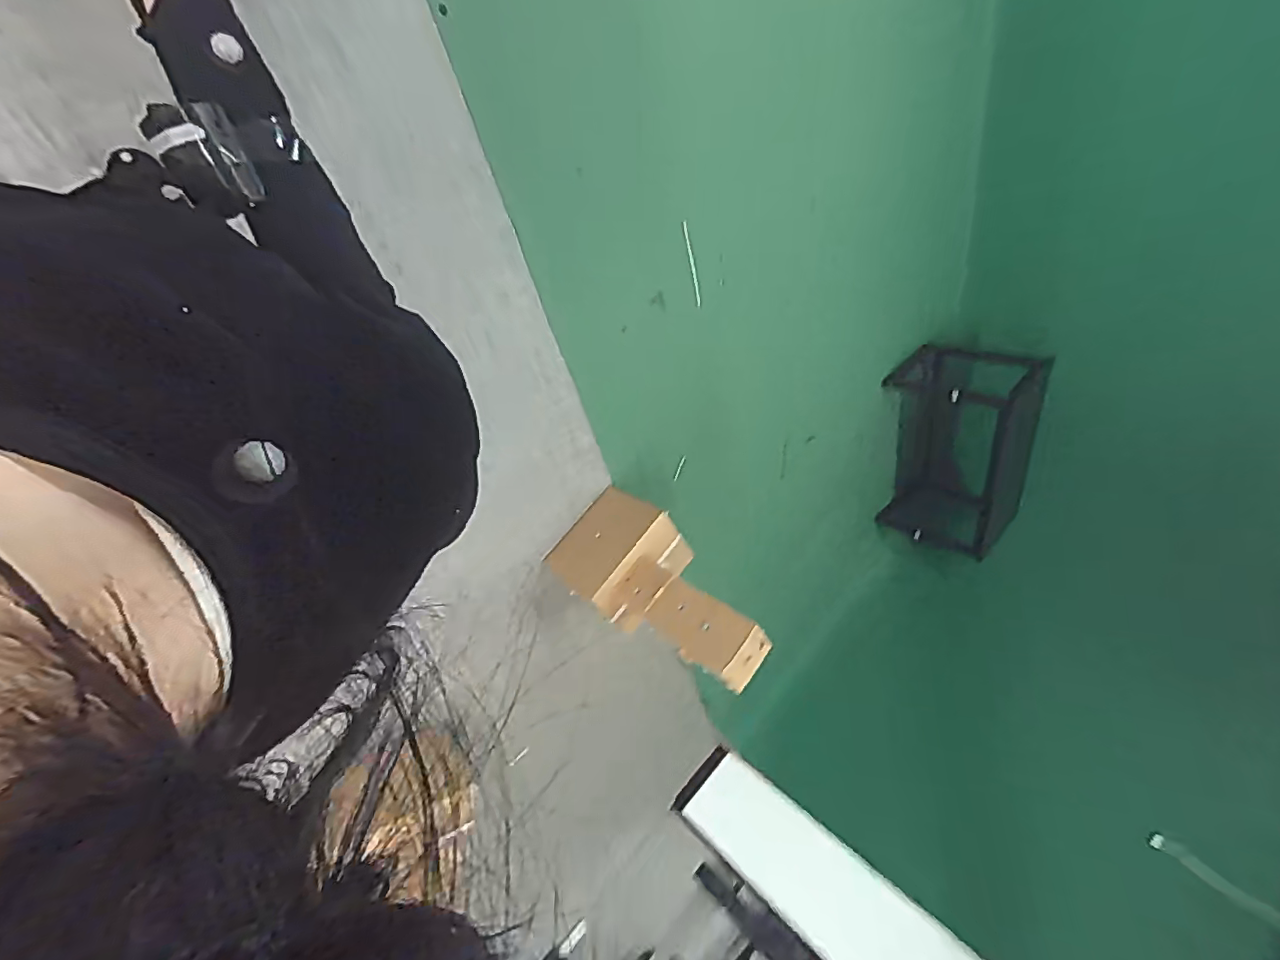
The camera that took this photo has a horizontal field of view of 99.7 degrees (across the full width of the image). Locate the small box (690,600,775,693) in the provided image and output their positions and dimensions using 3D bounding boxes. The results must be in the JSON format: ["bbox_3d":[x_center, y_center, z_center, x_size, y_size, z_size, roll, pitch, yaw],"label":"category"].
[{"bbox_3d":[0.273,0.500,1.634,0.179,0.176,0.168,-49,134,-15],"label":"small box"}]

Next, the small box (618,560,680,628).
[{"bbox_3d":[0.055,0.397,1.857,0.168,0.176,0.179,-49,134,-16],"label":"small box"}]

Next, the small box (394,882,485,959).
[{"bbox_3d":[-0.529,1.205,1.415,0.168,0.176,0.179,-3,112,-43],"label":"small box"}]

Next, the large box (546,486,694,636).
[{"bbox_3d":[-0.074,0.299,2.045,0.408,0.320,0.320,-51,136,-16],"label":"large box"}]

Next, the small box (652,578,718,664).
[{"bbox_3d":[0.162,0.451,1.745,0.179,0.176,0.168,-51,134,-15],"label":"small box"}]
